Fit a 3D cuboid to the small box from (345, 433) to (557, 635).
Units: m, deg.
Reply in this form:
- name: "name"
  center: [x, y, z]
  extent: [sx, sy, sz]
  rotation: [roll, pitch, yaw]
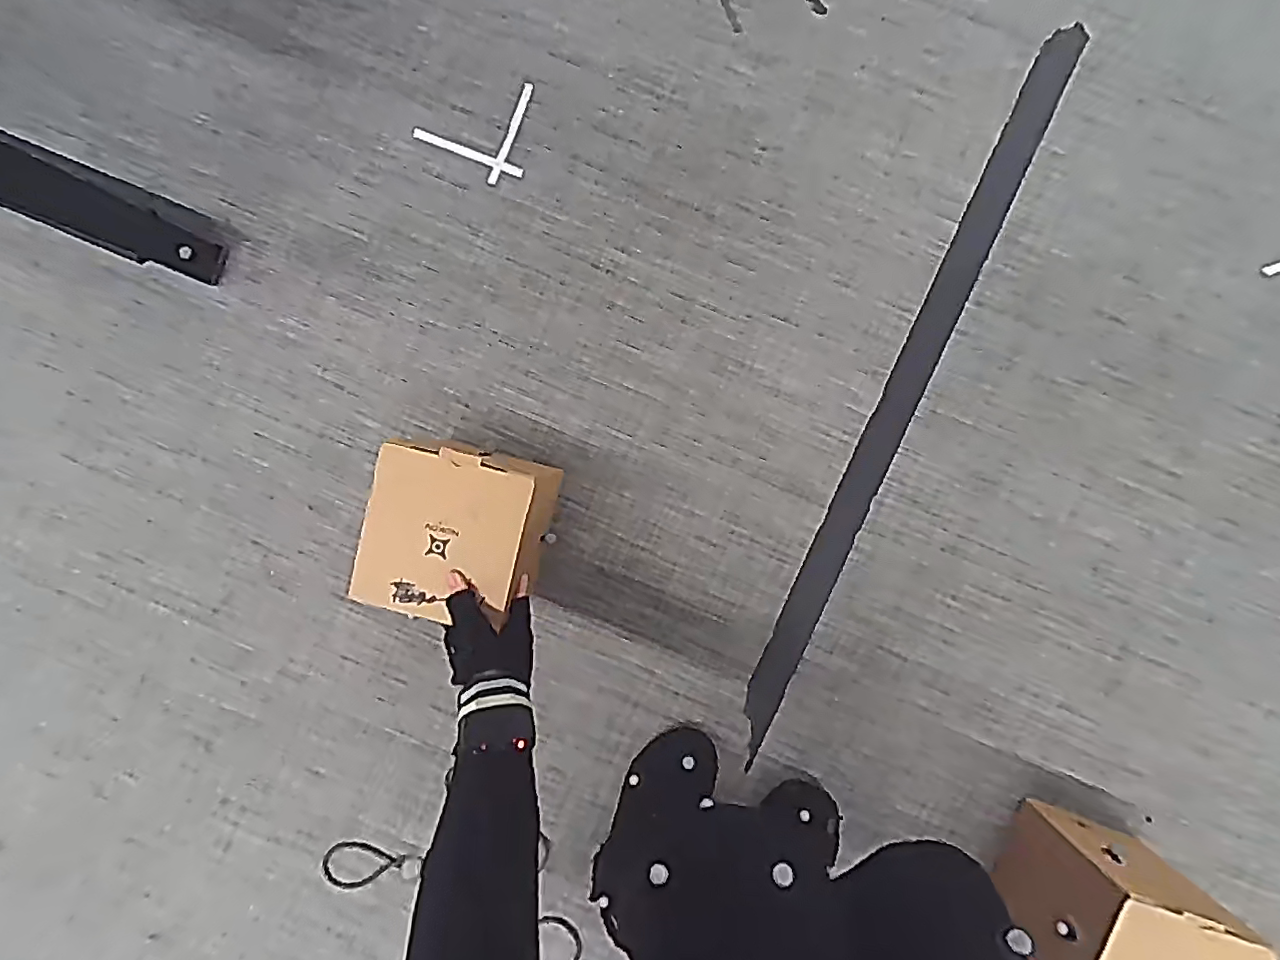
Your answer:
- name: "small box"
  center: [-0.203, 0.052, 0.633]
  extent: [0.168, 0.176, 0.179]
  rotation: [15, 93, 1]

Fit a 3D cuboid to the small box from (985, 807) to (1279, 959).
- name: "small box"
  center: [0.549, 0.530, 0.631]
  extent: [0.168, 0.176, 0.179]
  rotation: [21, 93, 2]
